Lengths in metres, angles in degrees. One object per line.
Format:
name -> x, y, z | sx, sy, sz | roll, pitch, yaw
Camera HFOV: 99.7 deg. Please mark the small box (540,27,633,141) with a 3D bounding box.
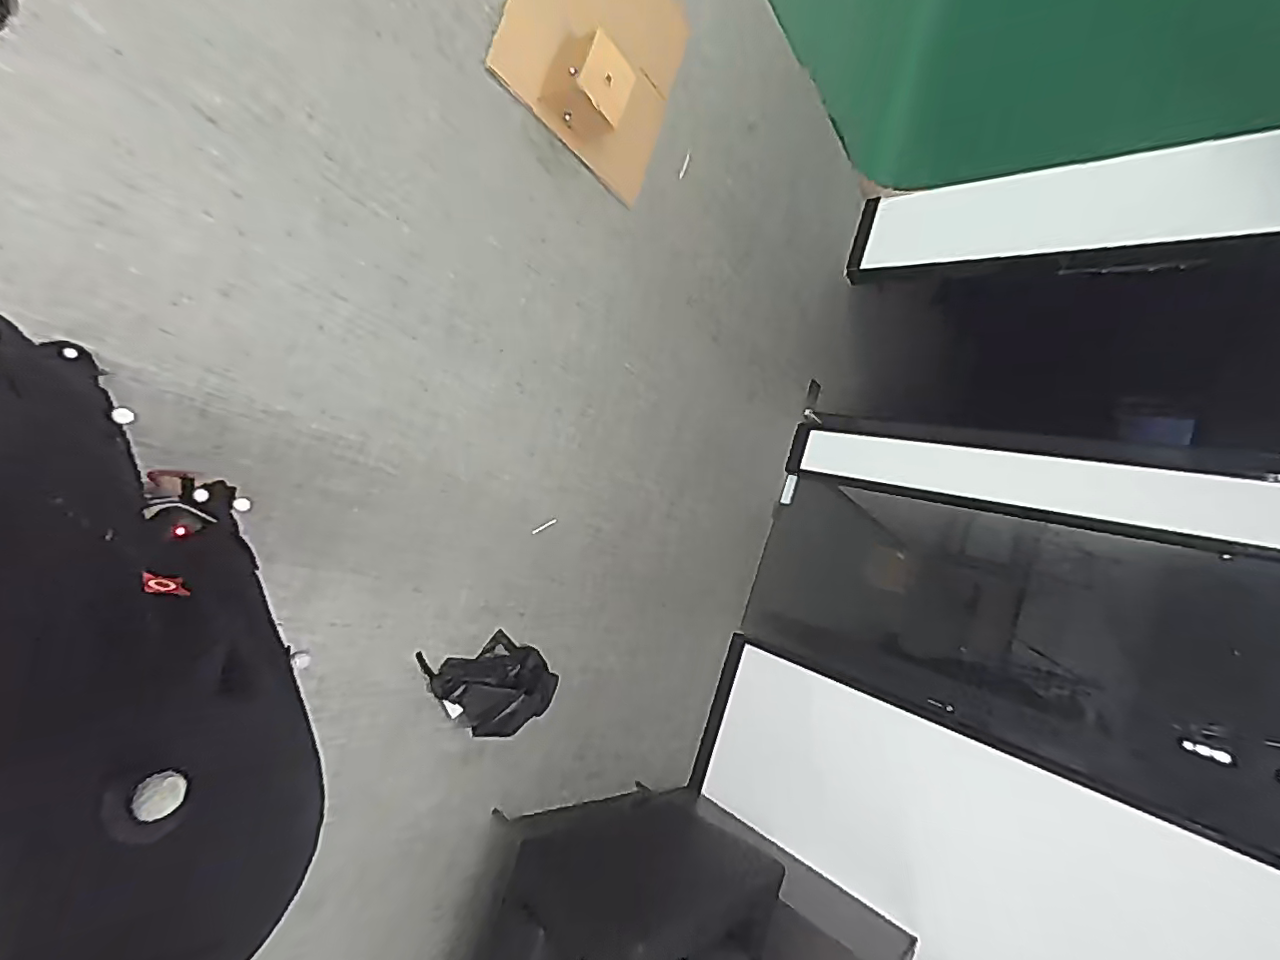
small box -> -0.152, -1.097, 1.513 | 0.168, 0.176, 0.179 | 25, 82, -49
